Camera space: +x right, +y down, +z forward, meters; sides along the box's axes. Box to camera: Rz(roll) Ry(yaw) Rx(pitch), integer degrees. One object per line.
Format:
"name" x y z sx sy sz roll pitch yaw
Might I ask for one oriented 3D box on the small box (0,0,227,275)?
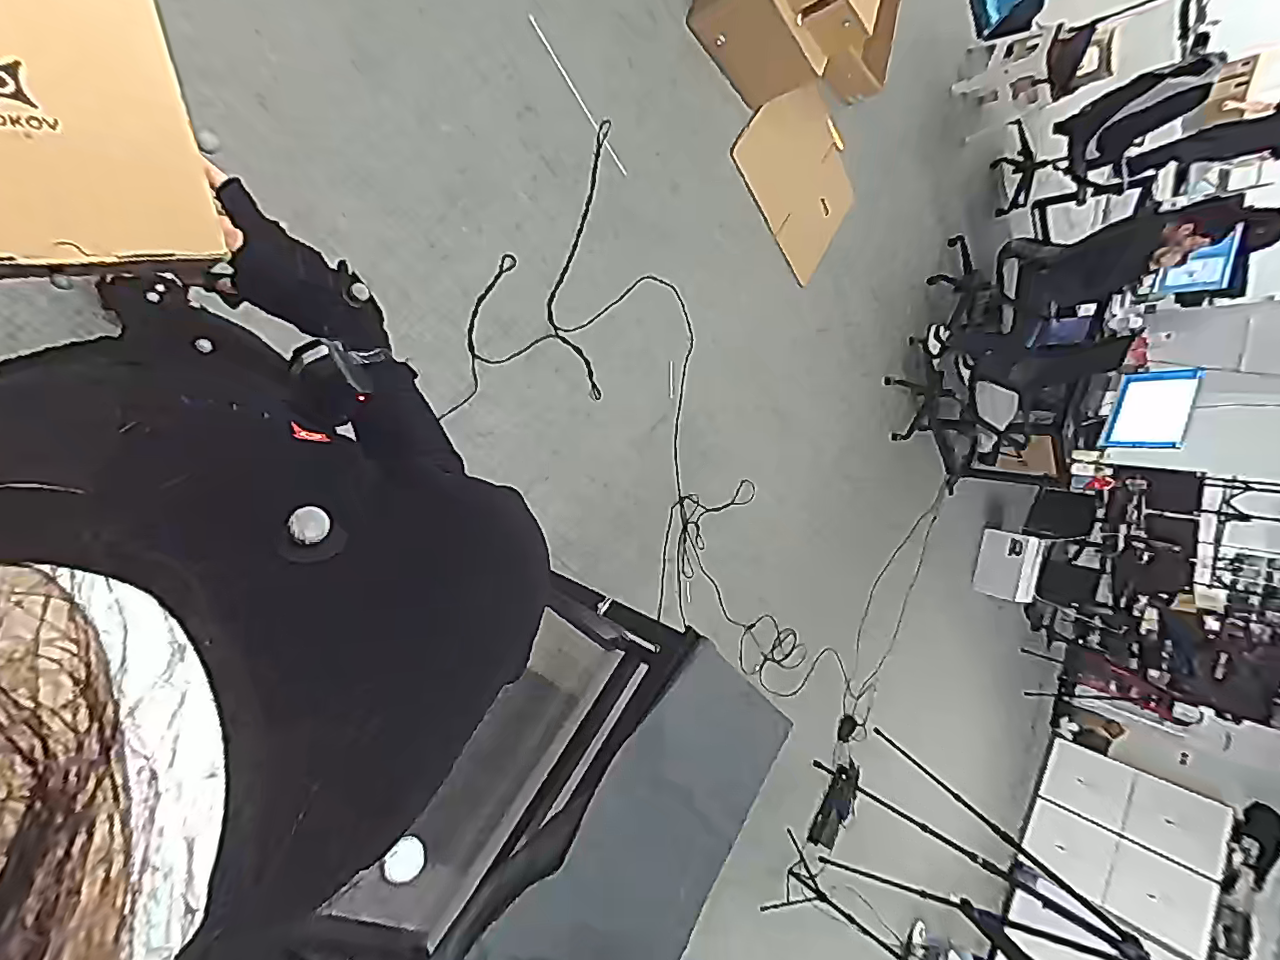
"small box" -0.408 -0.233 0.355 0.168 0.176 0.179 -21 118 -38
